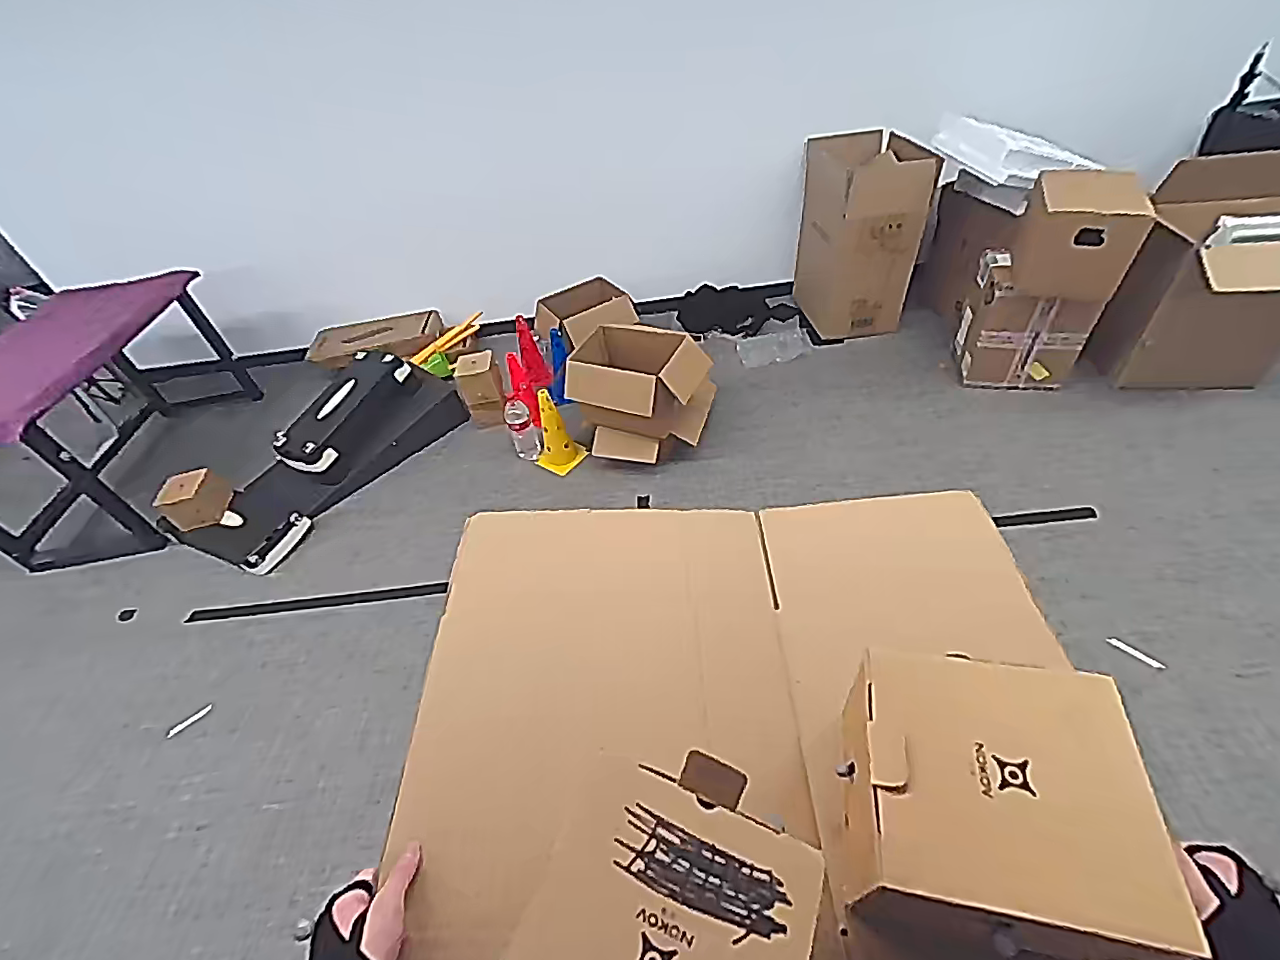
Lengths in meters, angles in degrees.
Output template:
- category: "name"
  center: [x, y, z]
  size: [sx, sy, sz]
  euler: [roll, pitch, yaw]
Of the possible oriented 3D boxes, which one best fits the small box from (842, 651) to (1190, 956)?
- category: "small box"
  center: [0.271, 0.264, 0.447]
  size: [0.179, 0.176, 0.168]
  euler: [3, 49, 15]
